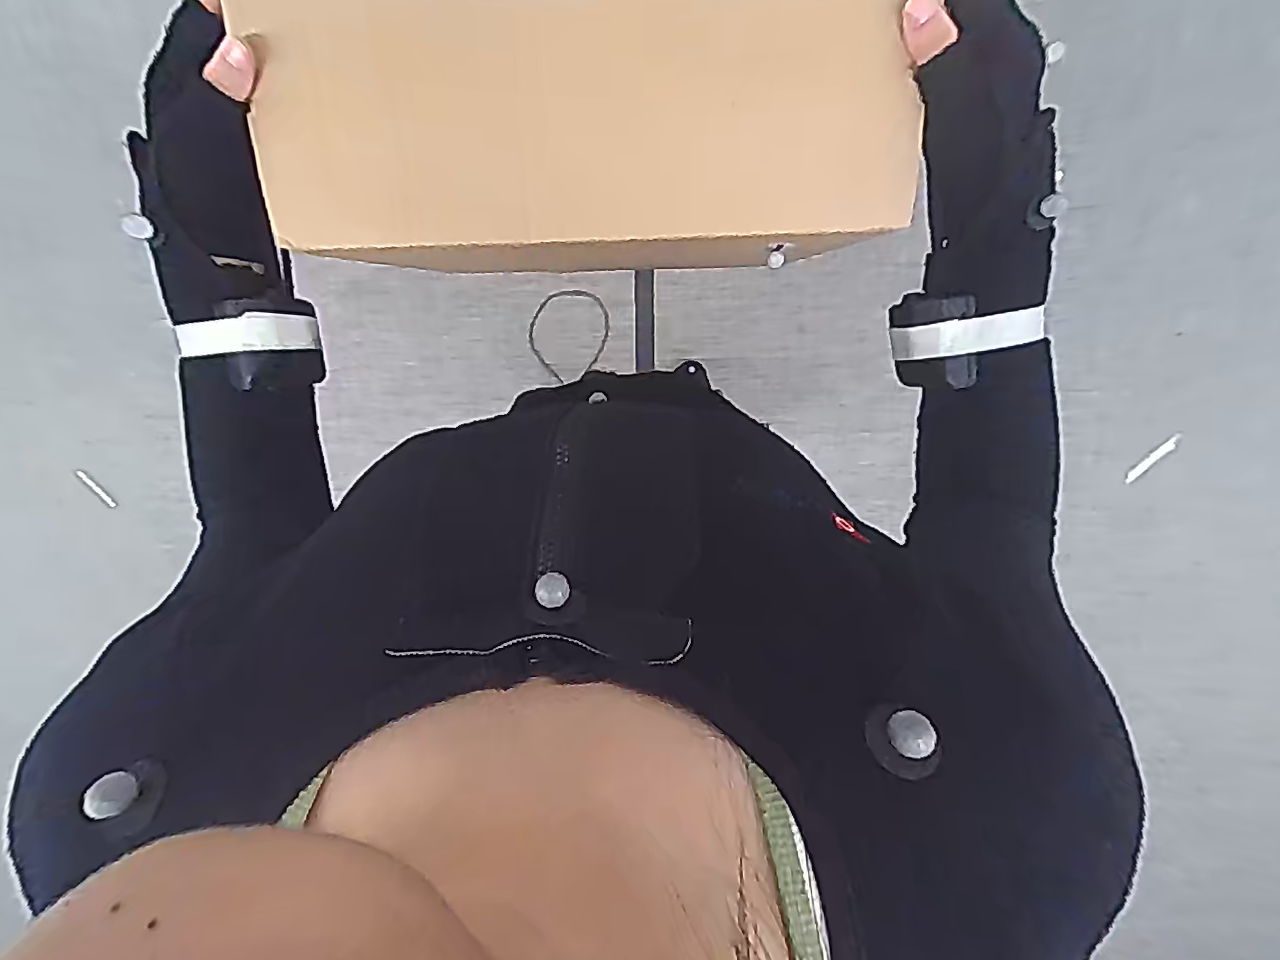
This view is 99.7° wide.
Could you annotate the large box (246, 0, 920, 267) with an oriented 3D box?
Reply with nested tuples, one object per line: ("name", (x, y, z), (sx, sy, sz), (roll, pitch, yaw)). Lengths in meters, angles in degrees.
("large box", (-0.031, -0.355, 0.450), (0.408, 0.320, 0.320), (-1, 108, 2))
